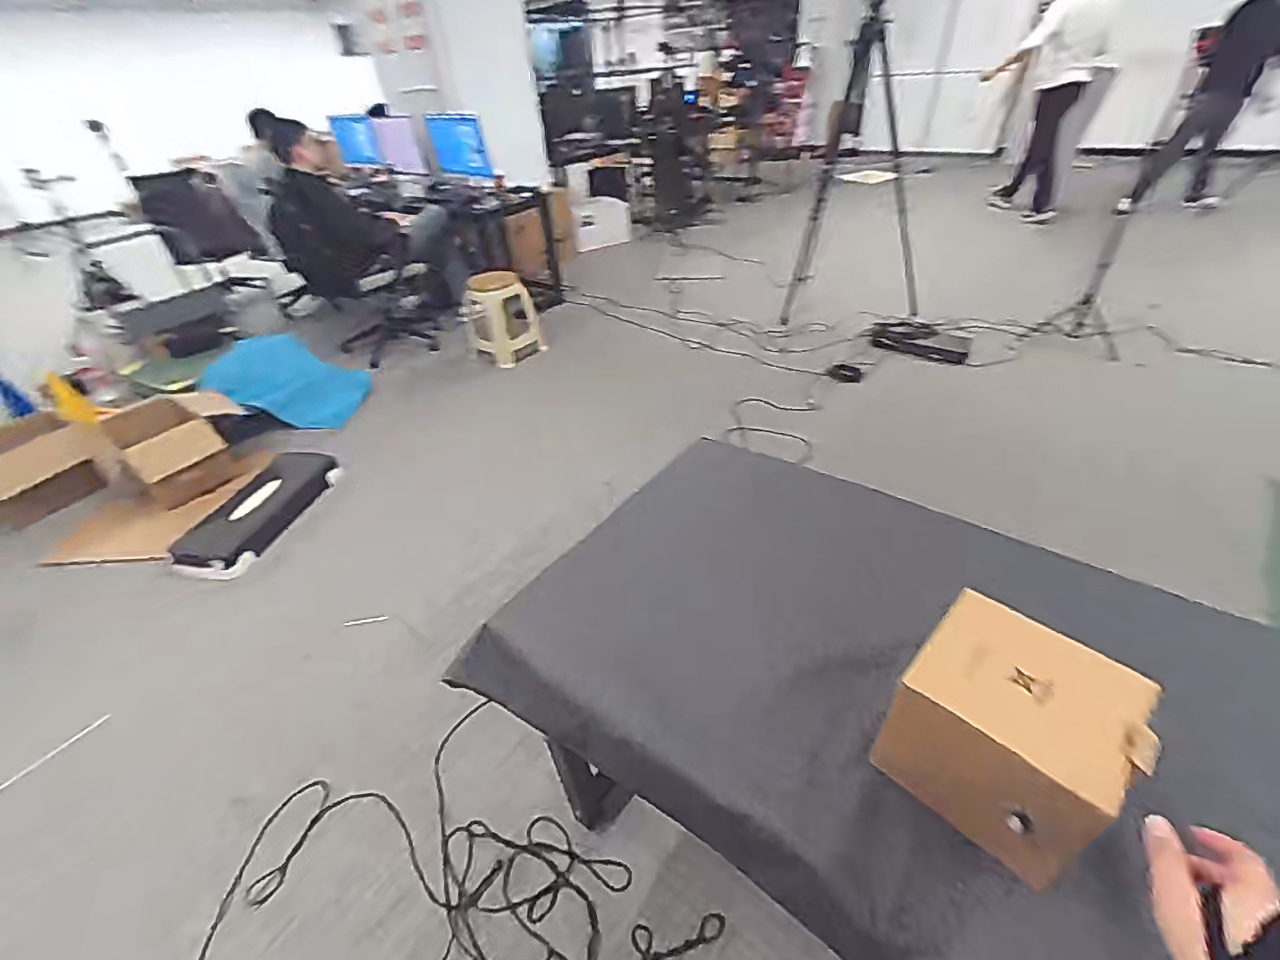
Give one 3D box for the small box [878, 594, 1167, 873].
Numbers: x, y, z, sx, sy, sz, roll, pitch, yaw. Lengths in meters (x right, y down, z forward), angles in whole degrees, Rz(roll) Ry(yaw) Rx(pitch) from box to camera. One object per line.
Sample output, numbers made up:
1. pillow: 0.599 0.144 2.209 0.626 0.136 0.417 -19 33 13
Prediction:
1. small box: 0.380 0.262 0.562 0.168 0.176 0.179 -32 44 -32
